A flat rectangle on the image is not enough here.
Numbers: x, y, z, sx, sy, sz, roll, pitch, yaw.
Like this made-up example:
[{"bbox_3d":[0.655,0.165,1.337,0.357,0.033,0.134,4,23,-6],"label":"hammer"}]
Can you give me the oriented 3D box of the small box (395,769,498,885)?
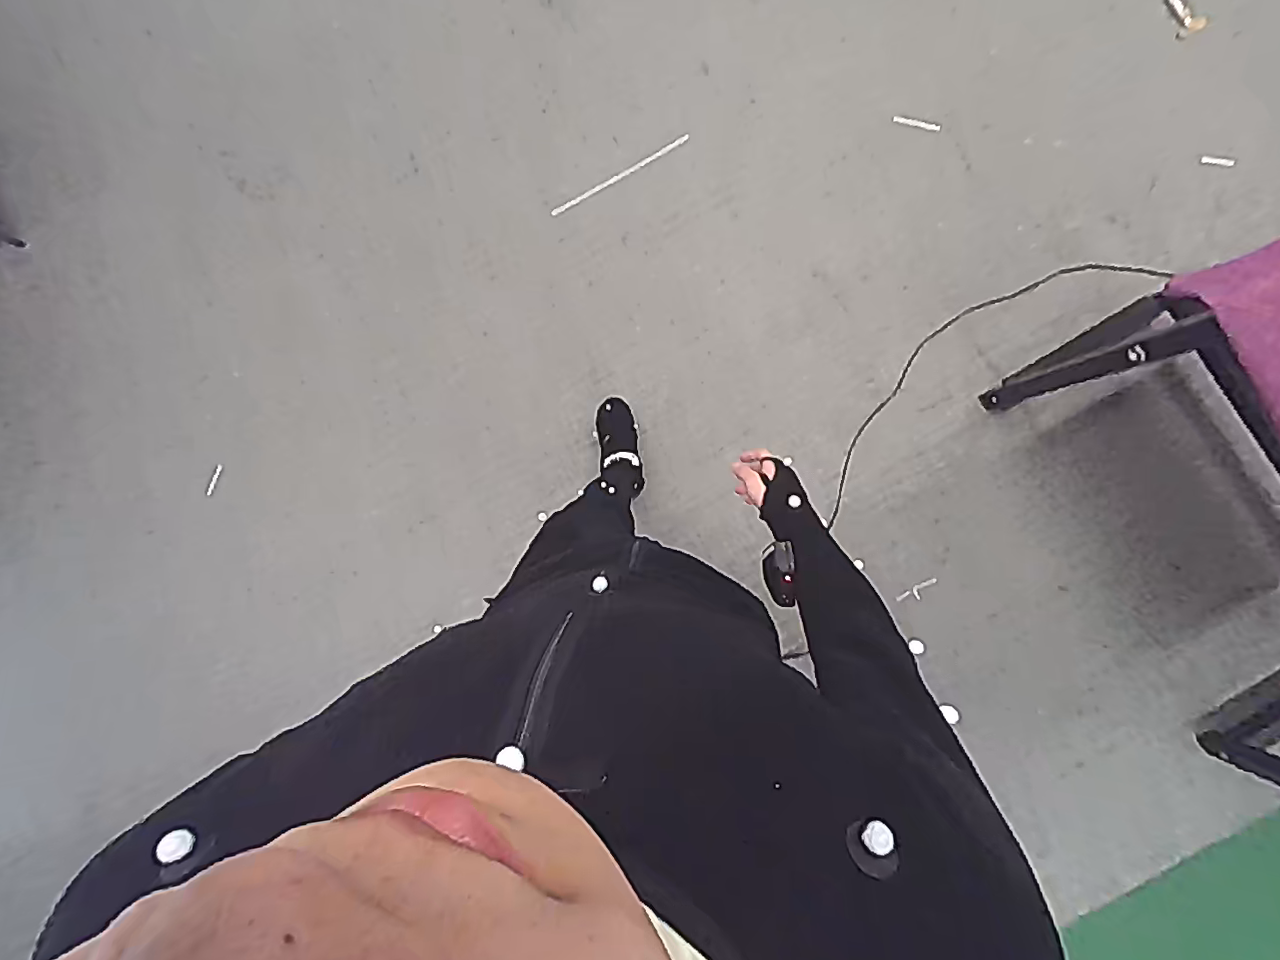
[{"bbox_3d":[-0.506,0.914,1.438,0.179,0.176,0.168,-25,87,1],"label":"small box"}]
